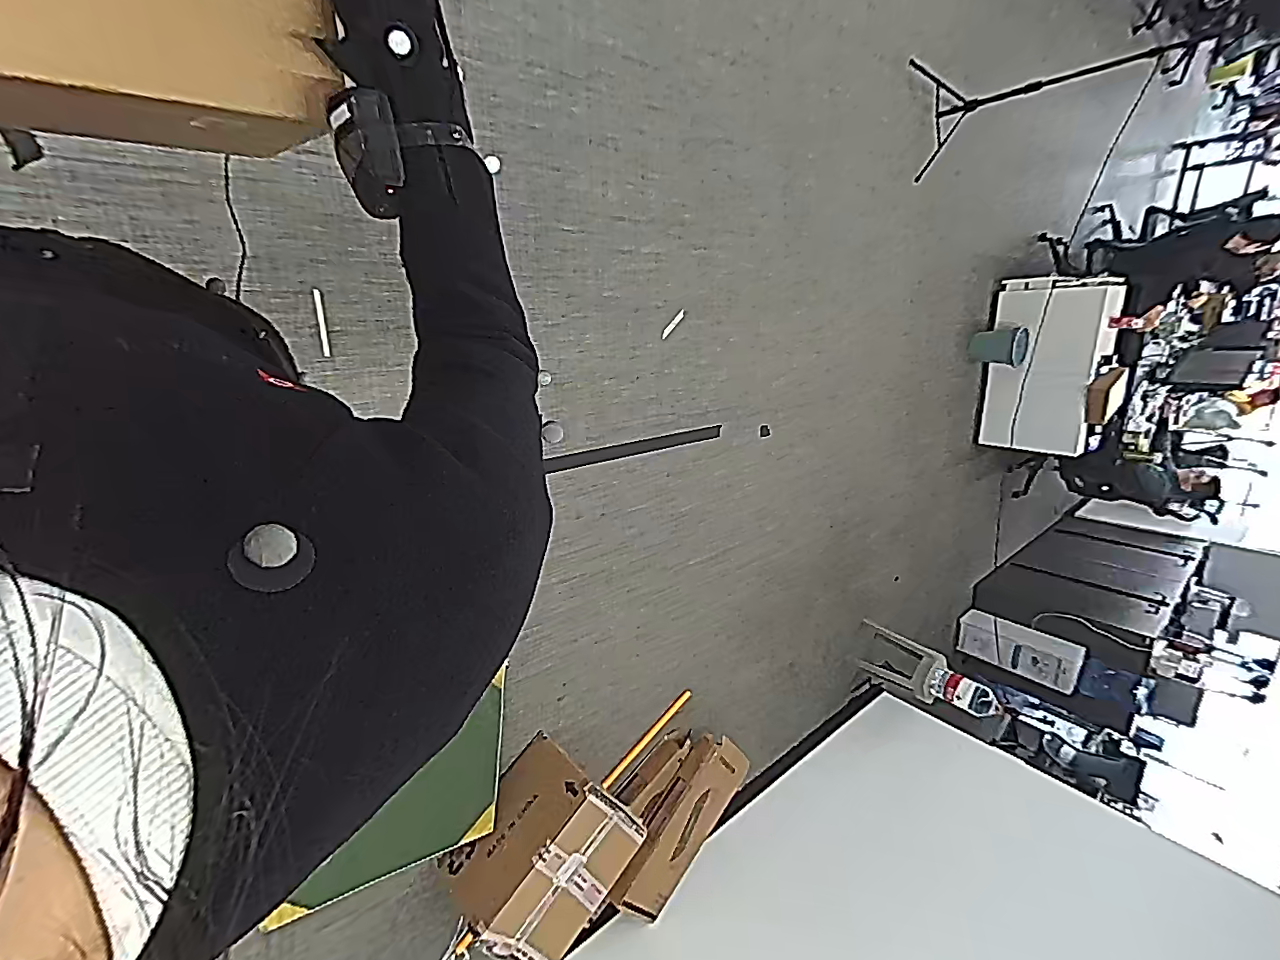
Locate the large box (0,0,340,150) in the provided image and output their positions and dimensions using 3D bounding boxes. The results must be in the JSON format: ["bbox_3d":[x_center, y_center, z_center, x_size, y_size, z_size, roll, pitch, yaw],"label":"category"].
[{"bbox_3d":[-0.457,-0.400,0.310,0.408,0.320,0.320,-17,122,-38],"label":"large box"}]
